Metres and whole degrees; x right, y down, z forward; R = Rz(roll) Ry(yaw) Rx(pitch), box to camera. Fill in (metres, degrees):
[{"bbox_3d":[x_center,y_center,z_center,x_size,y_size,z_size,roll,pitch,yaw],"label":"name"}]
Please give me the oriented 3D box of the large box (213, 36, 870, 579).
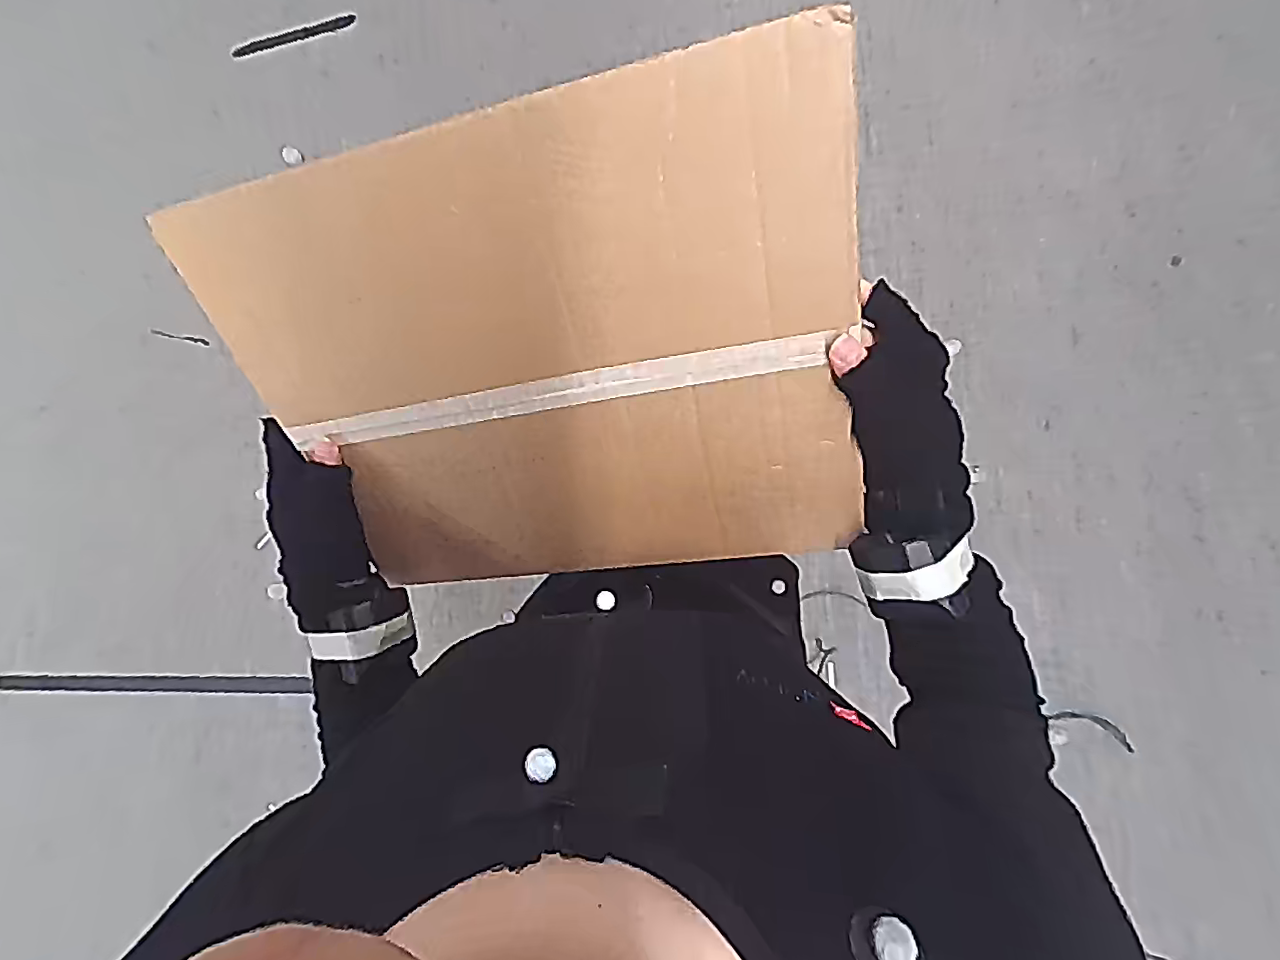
[{"bbox_3d":[-0.035,-0.139,0.499,0.408,0.320,0.320,-7,123,13],"label":"large box"}]
